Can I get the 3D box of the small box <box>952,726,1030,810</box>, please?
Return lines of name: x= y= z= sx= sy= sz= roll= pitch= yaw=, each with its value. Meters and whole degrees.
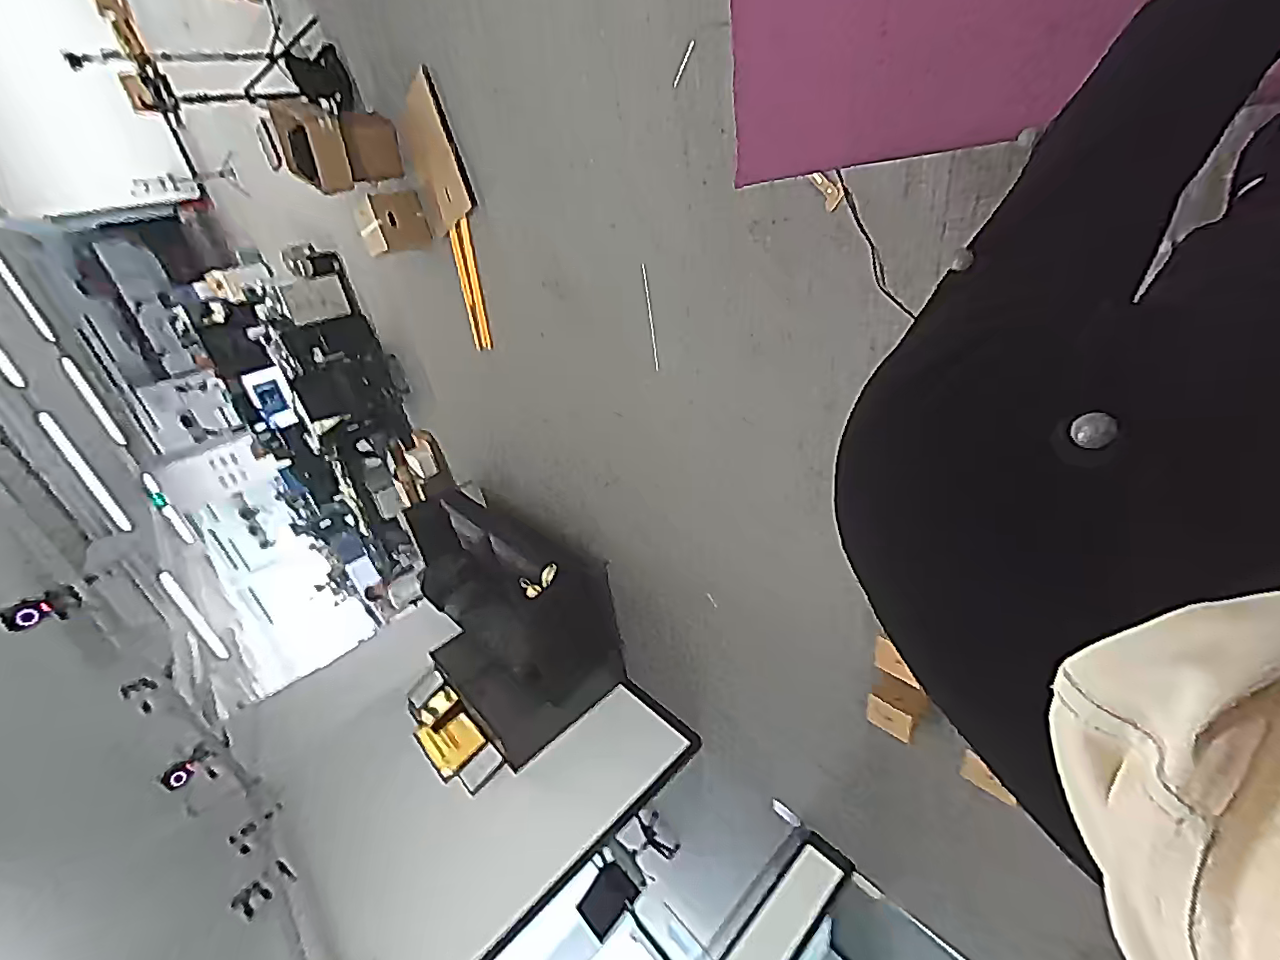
small box: x=1.255 y=1.020 z=1.937 sx=0.179 sy=0.176 sz=0.168 roll=24 pitch=134 yaw=42

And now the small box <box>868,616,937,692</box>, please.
small box: x=0.981 y=0.641 z=2.016 sx=0.179 sy=0.176 sz=0.168 roll=24 pitch=133 yaw=44

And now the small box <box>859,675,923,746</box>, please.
small box: x=1.014 y=0.919 z=2.181 sx=0.179 sy=0.176 sz=0.168 roll=24 pitch=132 yaw=43

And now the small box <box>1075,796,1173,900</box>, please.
small box: x=1.510 y=1.139 z=1.684 sx=0.179 sy=0.176 sz=0.168 roll=26 pitch=134 yaw=40
